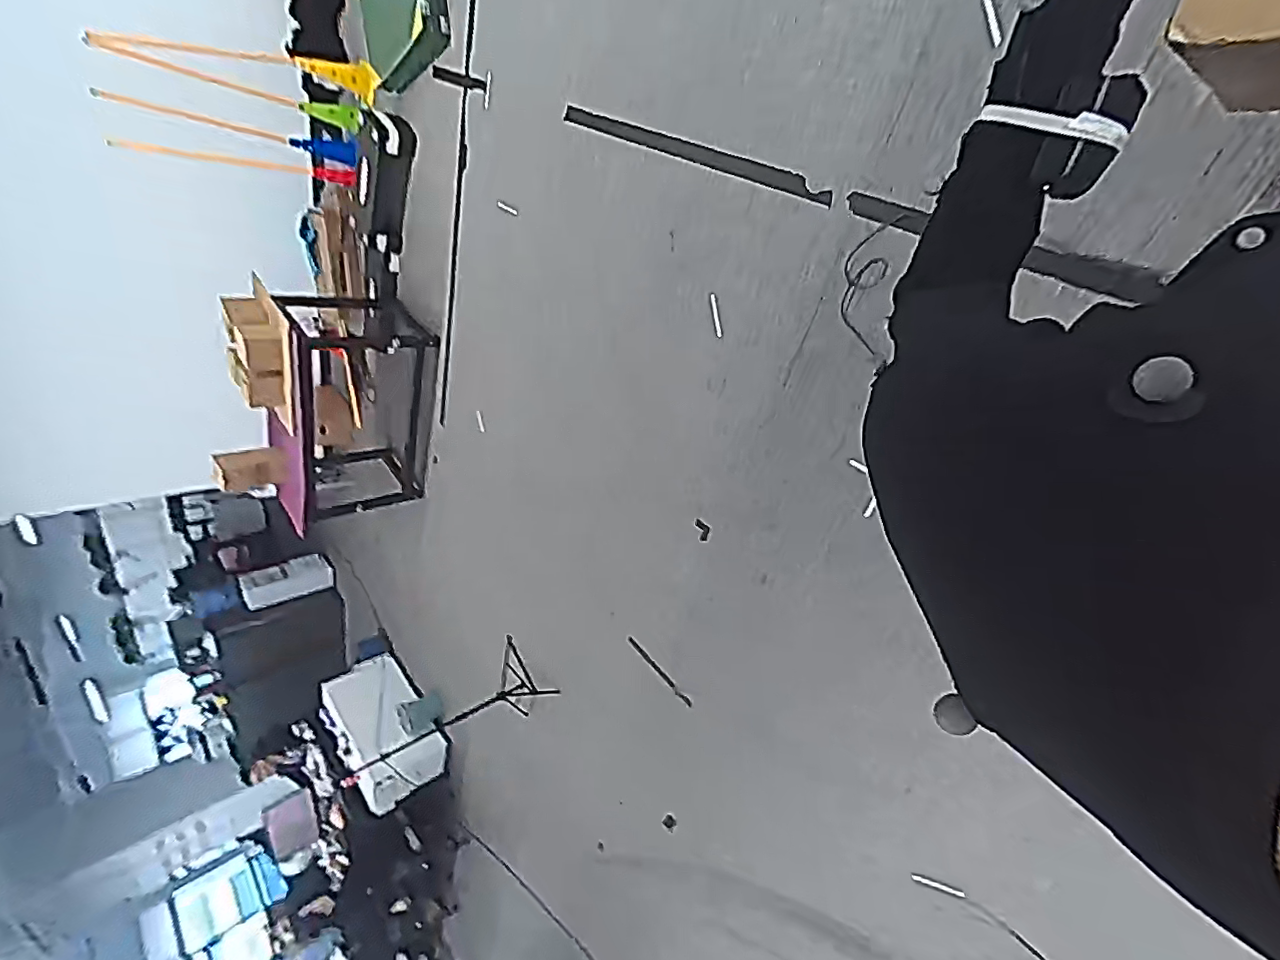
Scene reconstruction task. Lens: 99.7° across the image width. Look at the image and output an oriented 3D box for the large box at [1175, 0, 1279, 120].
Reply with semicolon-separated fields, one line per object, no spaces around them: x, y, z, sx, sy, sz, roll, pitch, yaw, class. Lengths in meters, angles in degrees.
0.563;-0.351;0.214;0.408;0.320;0.320;31;129;39;large box
